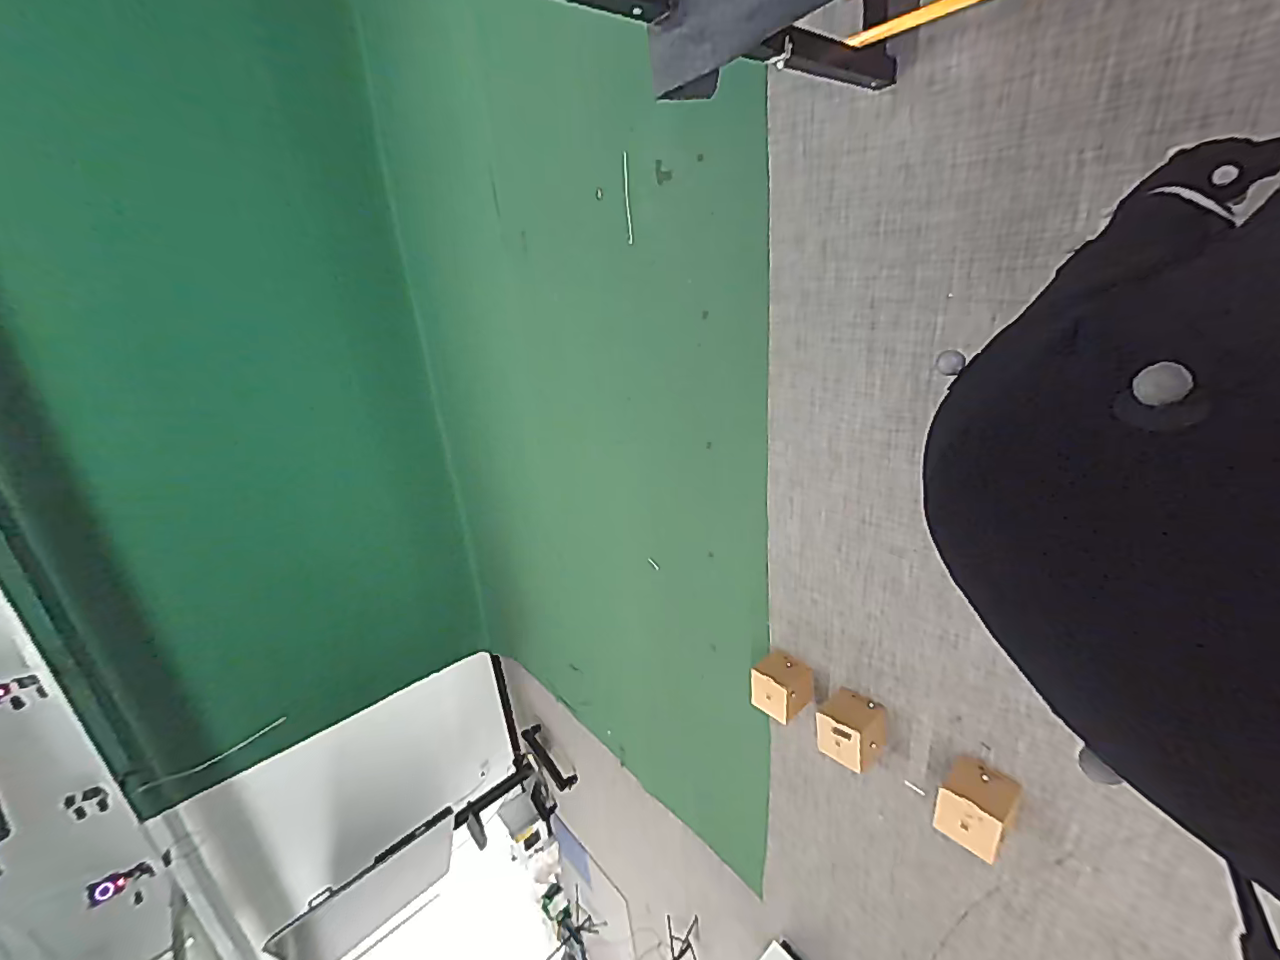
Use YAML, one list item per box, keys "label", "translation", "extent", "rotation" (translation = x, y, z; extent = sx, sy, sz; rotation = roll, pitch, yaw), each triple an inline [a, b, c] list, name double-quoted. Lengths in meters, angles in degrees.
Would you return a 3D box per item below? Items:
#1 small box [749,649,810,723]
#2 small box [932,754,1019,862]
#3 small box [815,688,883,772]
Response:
- label: "small box"
  translation: [0.543, 0.795, 2.103]
  extent: [0.168, 0.176, 0.179]
  rotation: [18, 120, 46]
- label: "small box"
  translation: [0.994, 0.963, 1.602]
  extent: [0.168, 0.176, 0.179]
  rotation: [19, 121, 45]
- label: "small box"
  translation: [0.733, 0.865, 1.892]
  extent: [0.168, 0.176, 0.179]
  rotation: [14, 118, 49]
